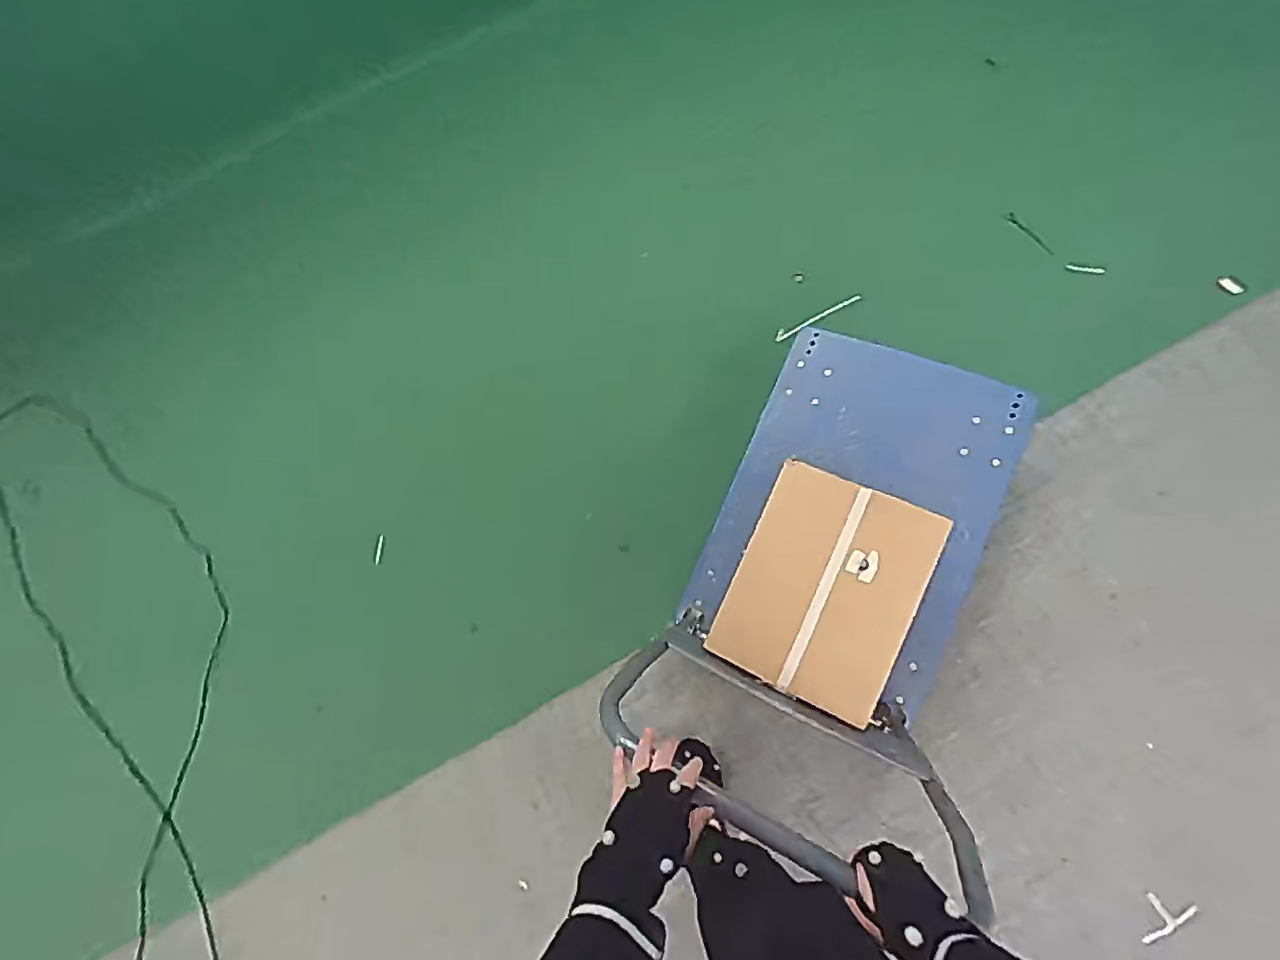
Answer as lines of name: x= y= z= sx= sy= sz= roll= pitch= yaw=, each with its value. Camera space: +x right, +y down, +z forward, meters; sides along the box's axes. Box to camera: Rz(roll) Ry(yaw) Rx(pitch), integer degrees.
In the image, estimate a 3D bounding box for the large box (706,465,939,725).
large box: x=0.374 y=0.233 z=1.159 sx=0.320 sy=0.320 sz=0.408 roll=23 pitch=85 yaw=17
